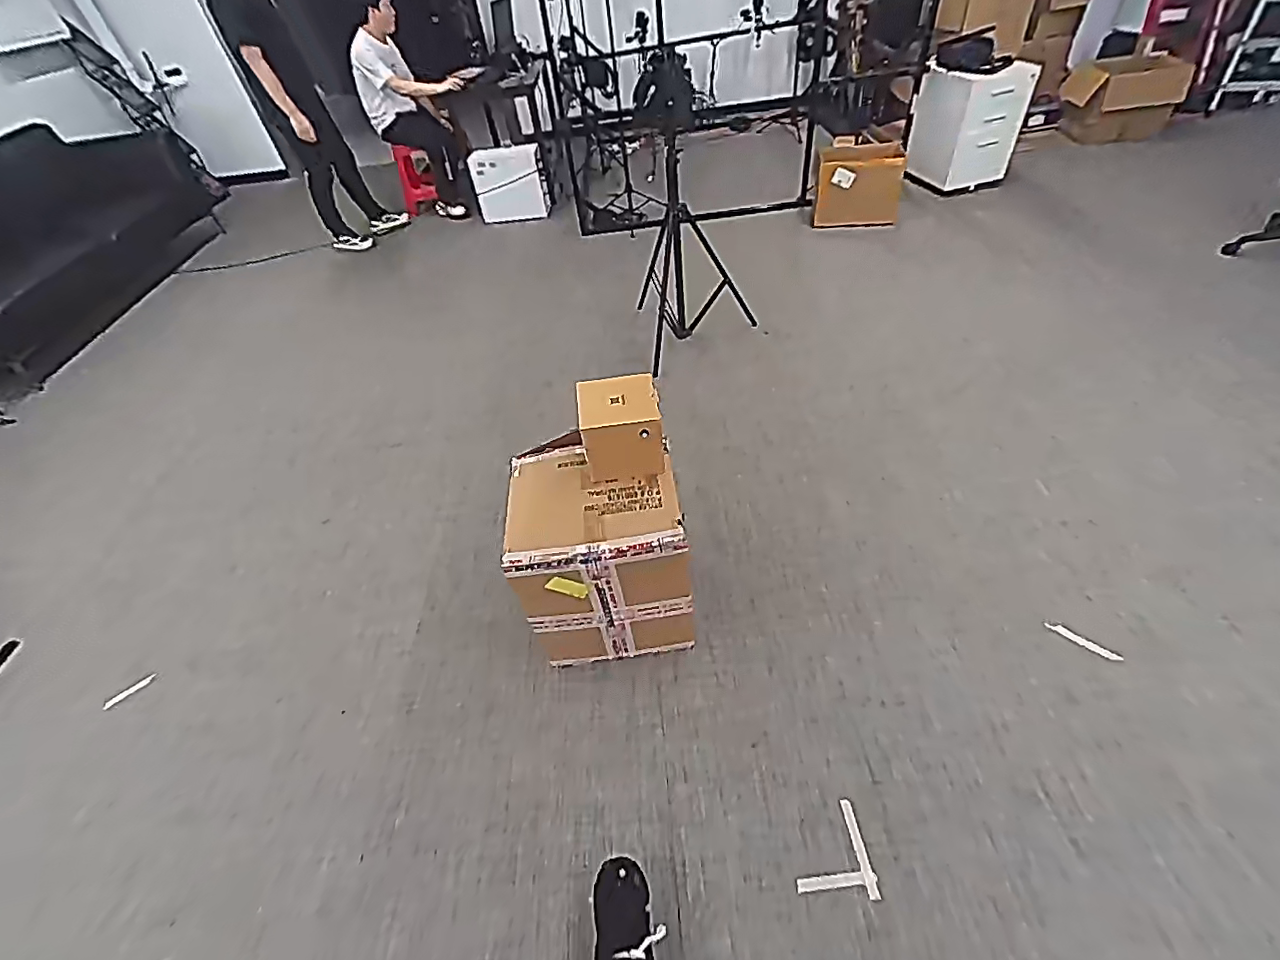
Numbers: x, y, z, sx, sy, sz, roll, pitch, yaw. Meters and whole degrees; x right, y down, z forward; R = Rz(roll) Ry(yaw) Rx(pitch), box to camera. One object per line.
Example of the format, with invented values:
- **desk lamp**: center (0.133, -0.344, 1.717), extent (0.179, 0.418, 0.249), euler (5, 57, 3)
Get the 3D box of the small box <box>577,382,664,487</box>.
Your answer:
- **small box**: center (-0.043, -0.100, 1.248), extent (0.179, 0.176, 0.168), euler (-8, 47, -2)
